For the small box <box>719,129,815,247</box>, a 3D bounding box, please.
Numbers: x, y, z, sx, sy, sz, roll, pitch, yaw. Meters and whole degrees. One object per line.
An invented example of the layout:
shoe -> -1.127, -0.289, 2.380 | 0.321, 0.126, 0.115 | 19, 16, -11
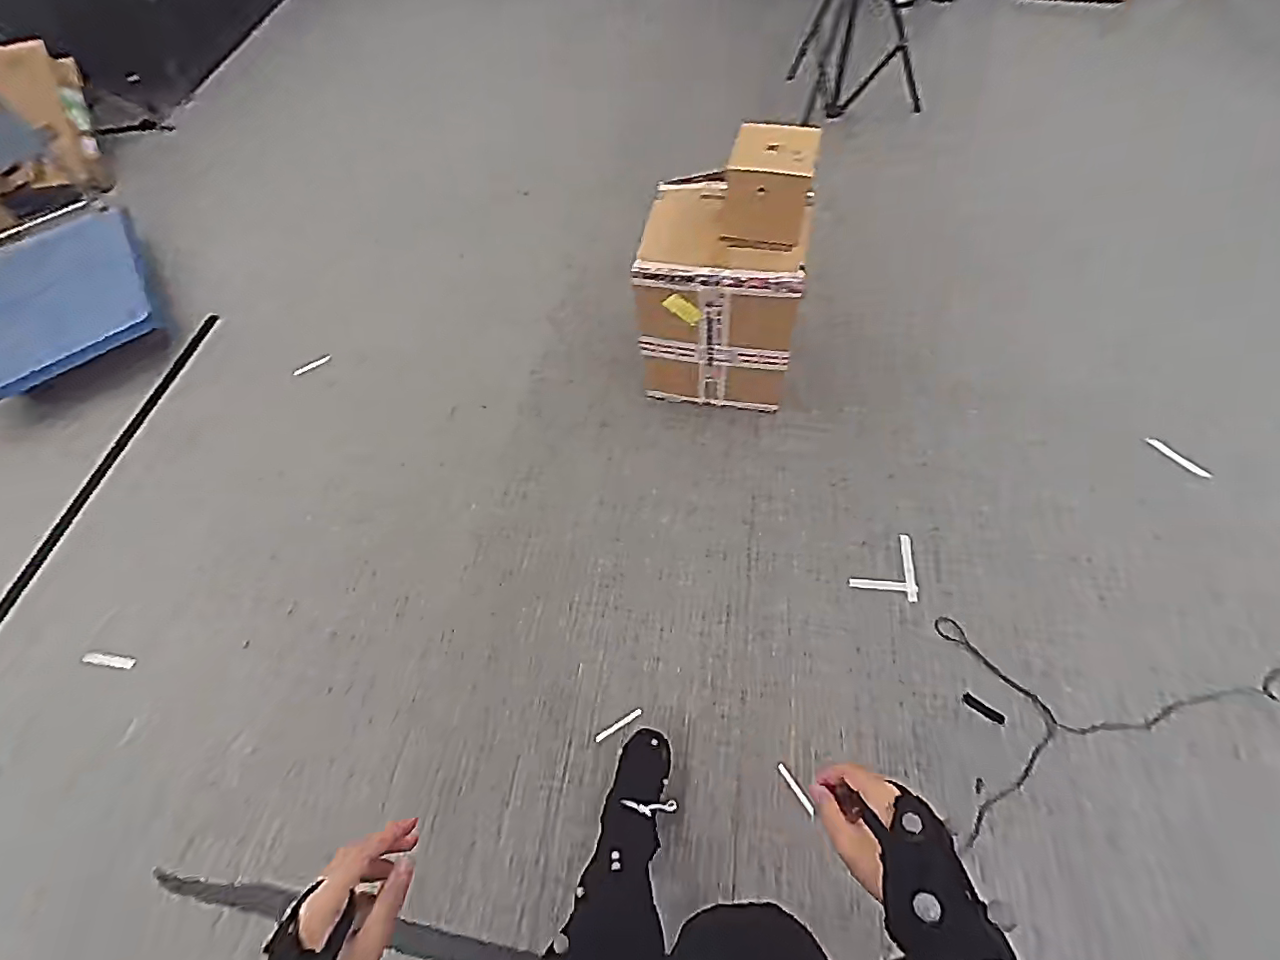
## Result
small box -> 0.277, -0.650, 1.210 | 0.179, 0.176, 0.168 | 12, 65, 10
